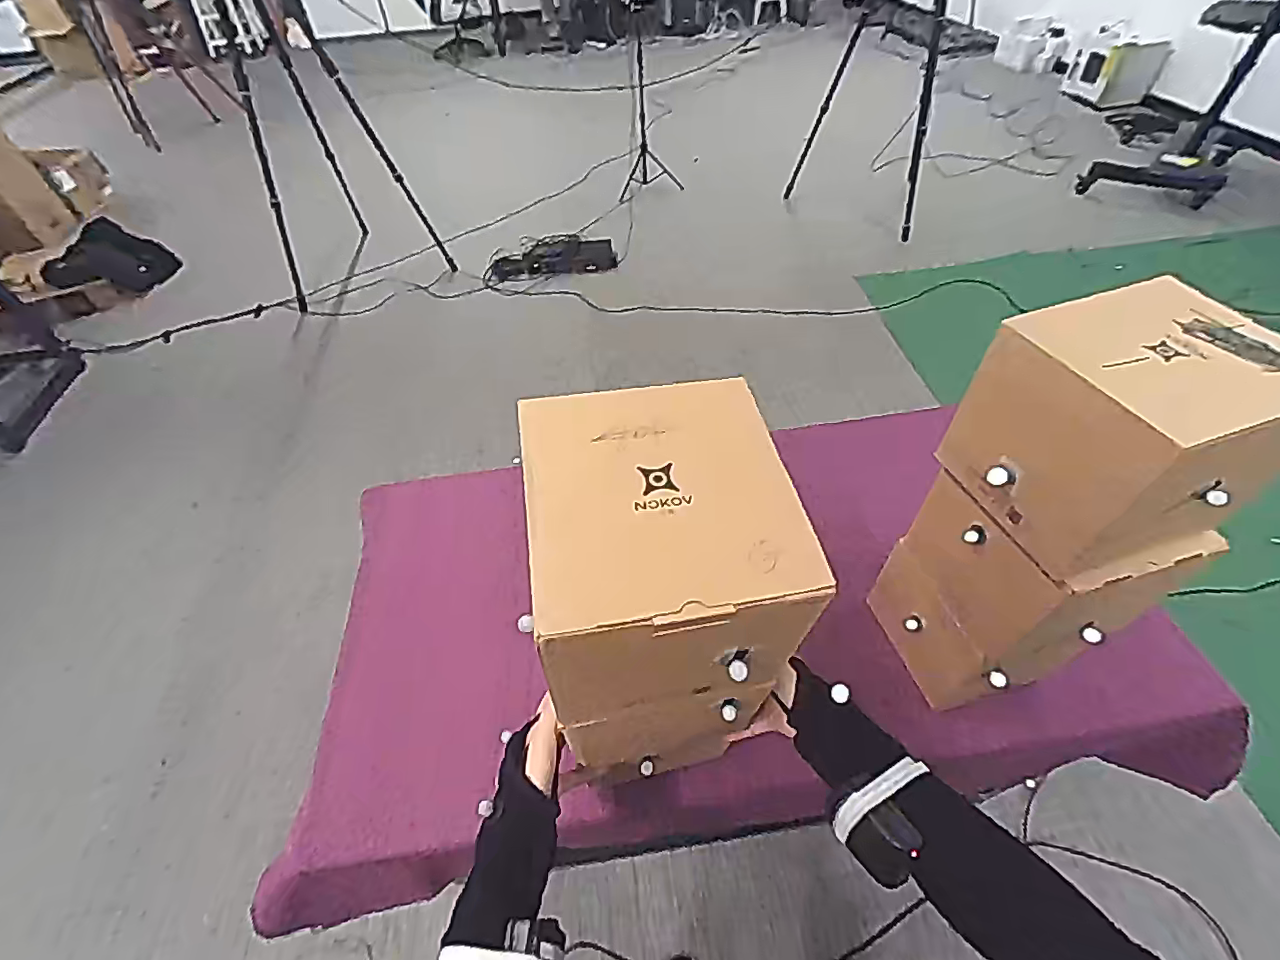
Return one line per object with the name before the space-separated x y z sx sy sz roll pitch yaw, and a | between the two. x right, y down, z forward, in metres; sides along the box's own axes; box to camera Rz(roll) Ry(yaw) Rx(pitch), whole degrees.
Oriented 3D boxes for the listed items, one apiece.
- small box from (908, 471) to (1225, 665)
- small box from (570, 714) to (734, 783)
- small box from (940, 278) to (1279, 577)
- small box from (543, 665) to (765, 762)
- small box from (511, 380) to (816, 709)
small box | 0.427 0.070 0.585 0.168 0.176 0.179 -14 50 -6
small box | 0.000 0.249 0.656 0.179 0.176 0.168 -11 54 -7
small box | 0.406 -0.043 0.468 0.179 0.176 0.168 -16 49 -8
small box | -0.001 0.155 0.523 0.179 0.176 0.168 -9 53 -9
small box | 0.002 0.053 0.396 0.168 0.176 0.179 -6 52 -8
